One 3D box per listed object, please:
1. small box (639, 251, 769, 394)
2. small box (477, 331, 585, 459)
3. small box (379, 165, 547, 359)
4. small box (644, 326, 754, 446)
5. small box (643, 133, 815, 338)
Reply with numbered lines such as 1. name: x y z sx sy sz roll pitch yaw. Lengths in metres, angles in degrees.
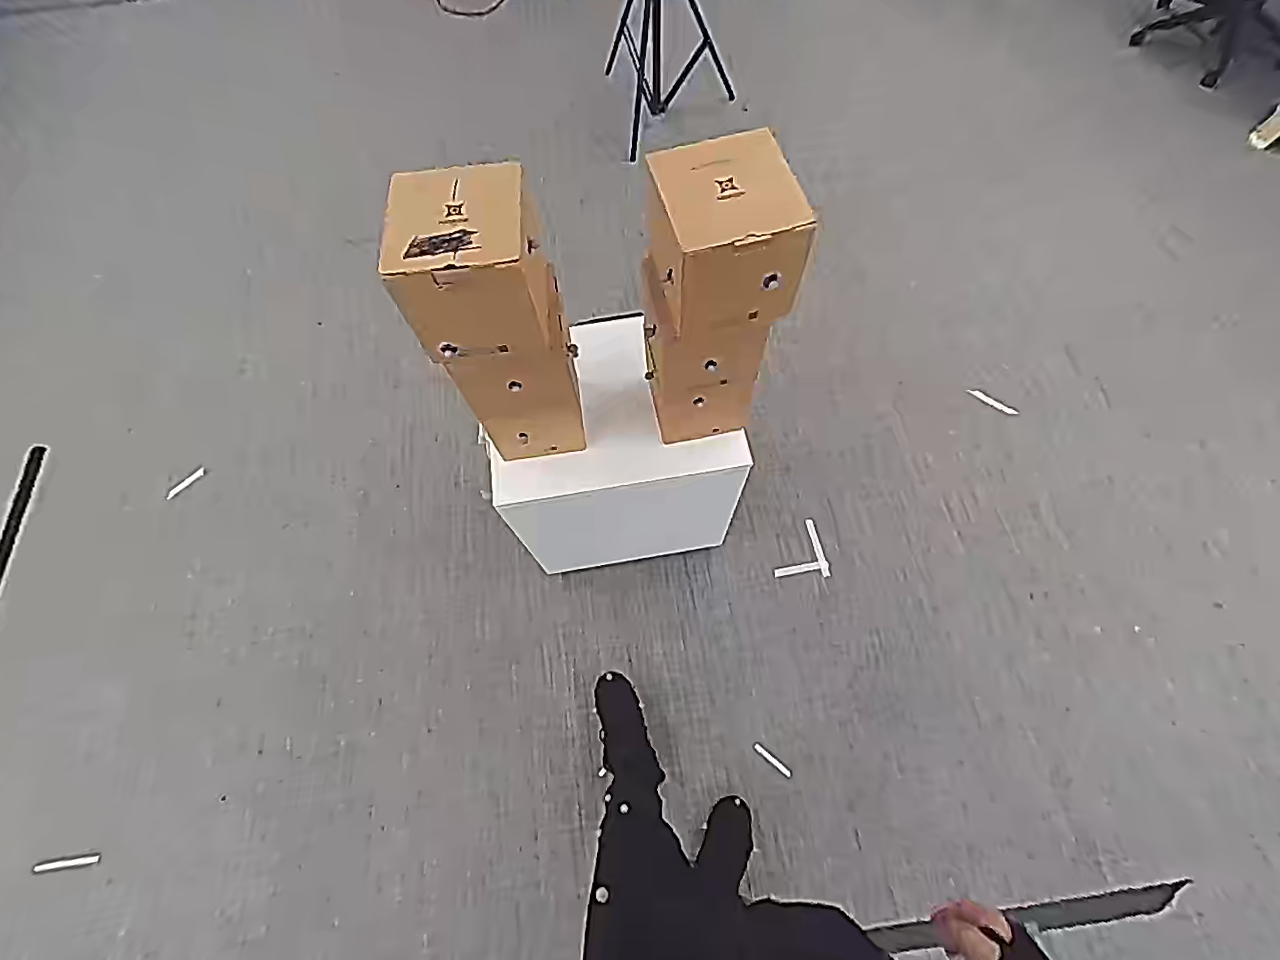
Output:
1. small box: 0.098 -0.255 0.873 0.168 0.176 0.179 -11 66 -2
2. small box: -0.202 -0.150 1.022 0.168 0.176 0.179 -8 66 -2
3. small box: -0.220 -0.276 0.718 0.168 0.176 0.179 -6 66 0
4. small box: 0.104 -0.189 1.025 0.168 0.176 0.179 -12 66 -1
5. small box: 0.107 -0.312 0.720 0.168 0.176 0.179 -15 67 -4
